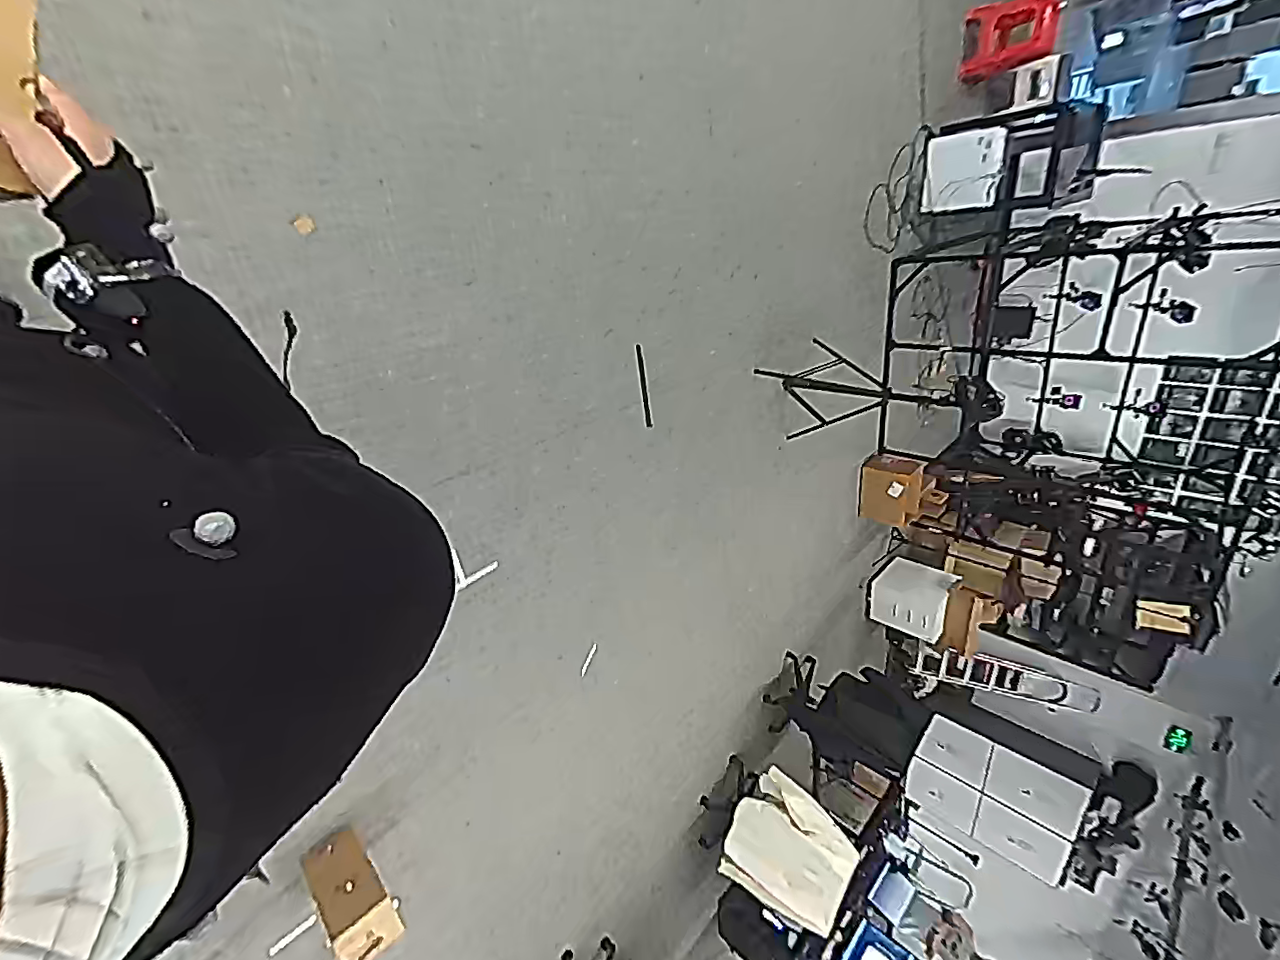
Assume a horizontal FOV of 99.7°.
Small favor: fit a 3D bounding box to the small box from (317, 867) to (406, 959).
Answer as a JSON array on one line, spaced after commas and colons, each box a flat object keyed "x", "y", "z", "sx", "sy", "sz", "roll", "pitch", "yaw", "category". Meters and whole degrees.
[{"x": -0.840, "y": 1.327, "z": 1.629, "sx": 0.168, "sy": 0.176, "sz": 0.179, "roll": -27, "pitch": 120, "yaw": -38, "category": "small box"}]

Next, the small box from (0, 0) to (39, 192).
[{"x": -0.592, "y": -0.324, "z": 0.392, "sx": 0.179, "sy": 0.176, "sz": 0.168, "roll": -6, "pitch": 108, "yaw": -62, "category": "small box"}]
